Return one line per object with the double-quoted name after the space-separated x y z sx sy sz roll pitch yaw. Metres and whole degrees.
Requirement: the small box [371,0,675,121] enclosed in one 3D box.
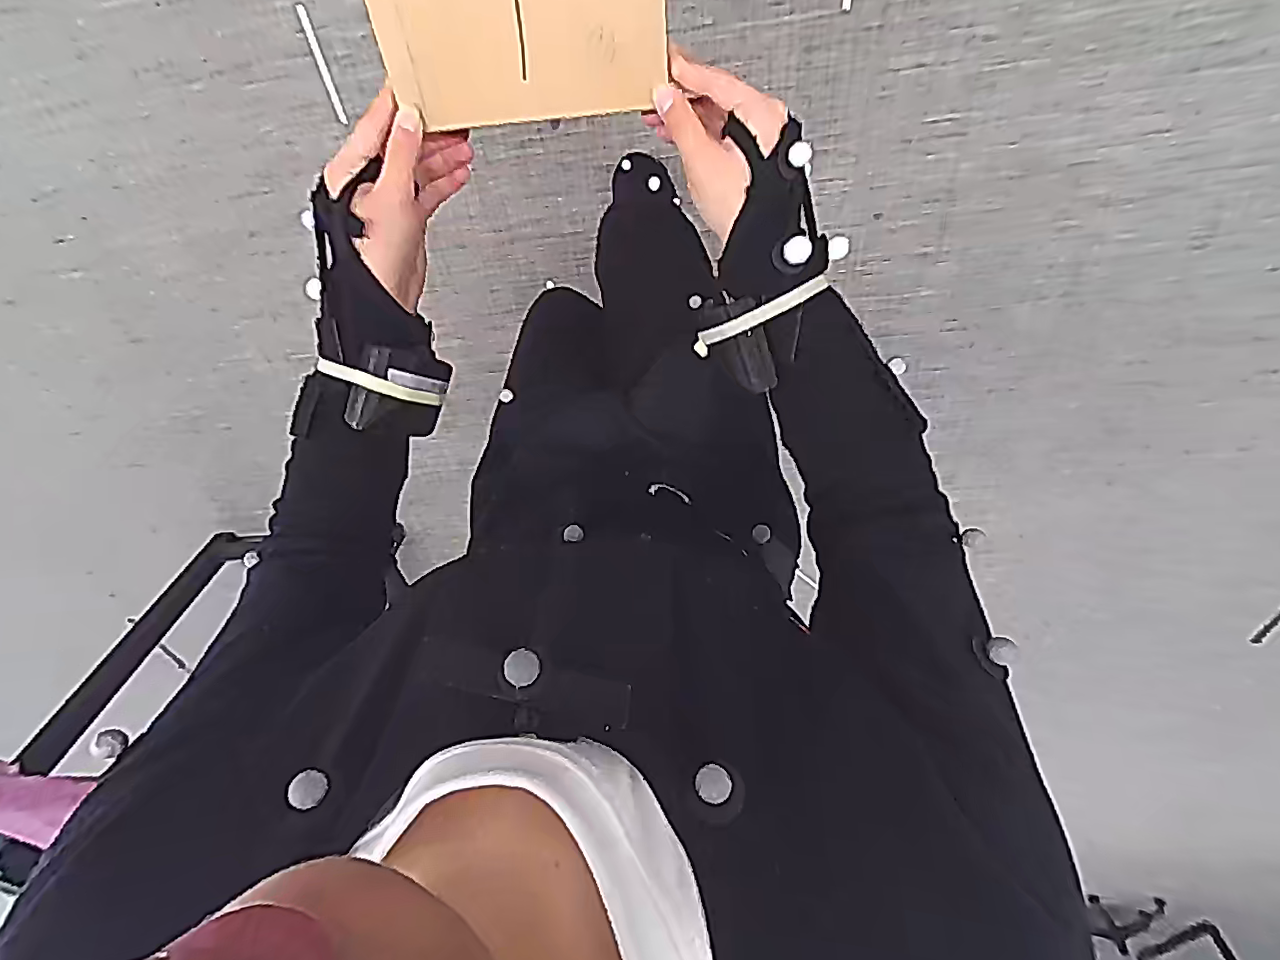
-0.068 -0.340 0.333 0.168 0.176 0.179 -4 130 3 "small box"
